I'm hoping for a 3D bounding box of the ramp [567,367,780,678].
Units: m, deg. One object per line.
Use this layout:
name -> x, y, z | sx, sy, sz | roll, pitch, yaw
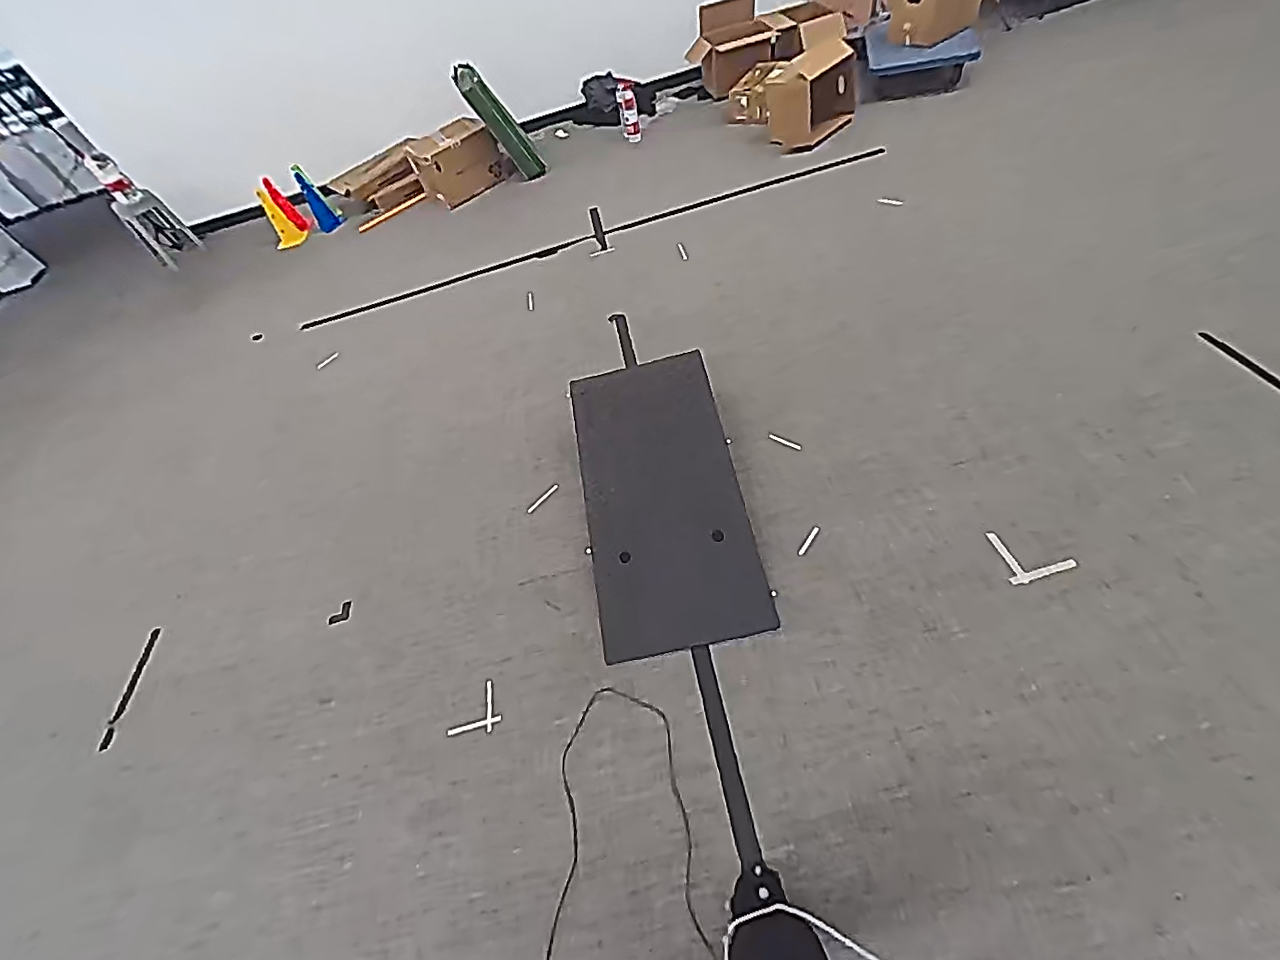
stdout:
ramp -> 0.060, 0.072, 1.733 | 0.509, 0.206, 0.991 | -16, 50, 2
